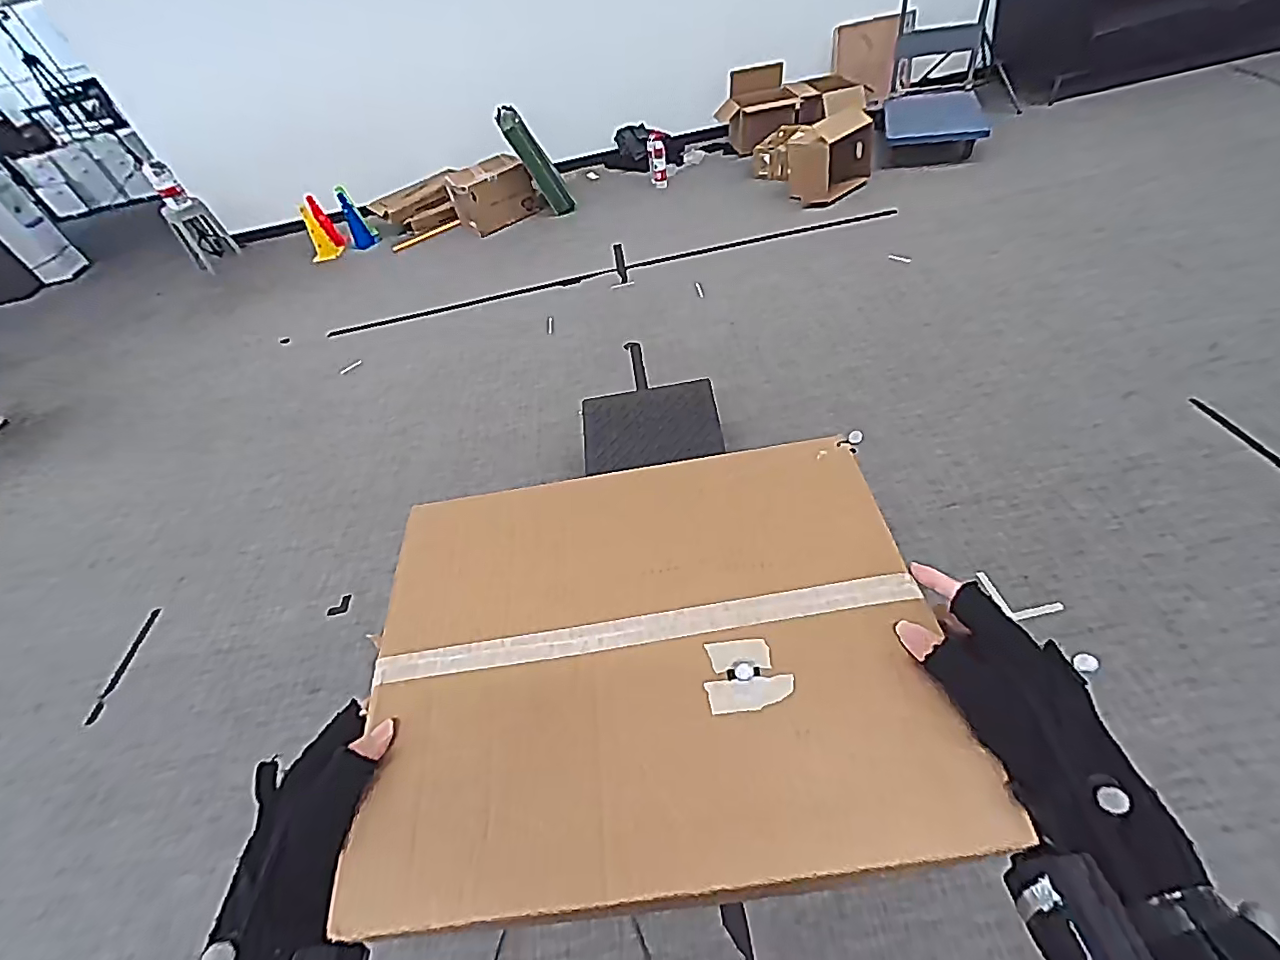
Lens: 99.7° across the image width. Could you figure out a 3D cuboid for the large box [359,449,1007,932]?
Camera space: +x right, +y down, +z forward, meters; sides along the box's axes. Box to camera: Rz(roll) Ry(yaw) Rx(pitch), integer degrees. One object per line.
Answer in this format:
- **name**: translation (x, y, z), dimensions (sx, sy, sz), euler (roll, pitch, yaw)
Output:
- **large box**: translation (0.024, 0.213, 0.529), dimensions (0.408, 0.320, 0.320), euler (-9, 51, 2)
